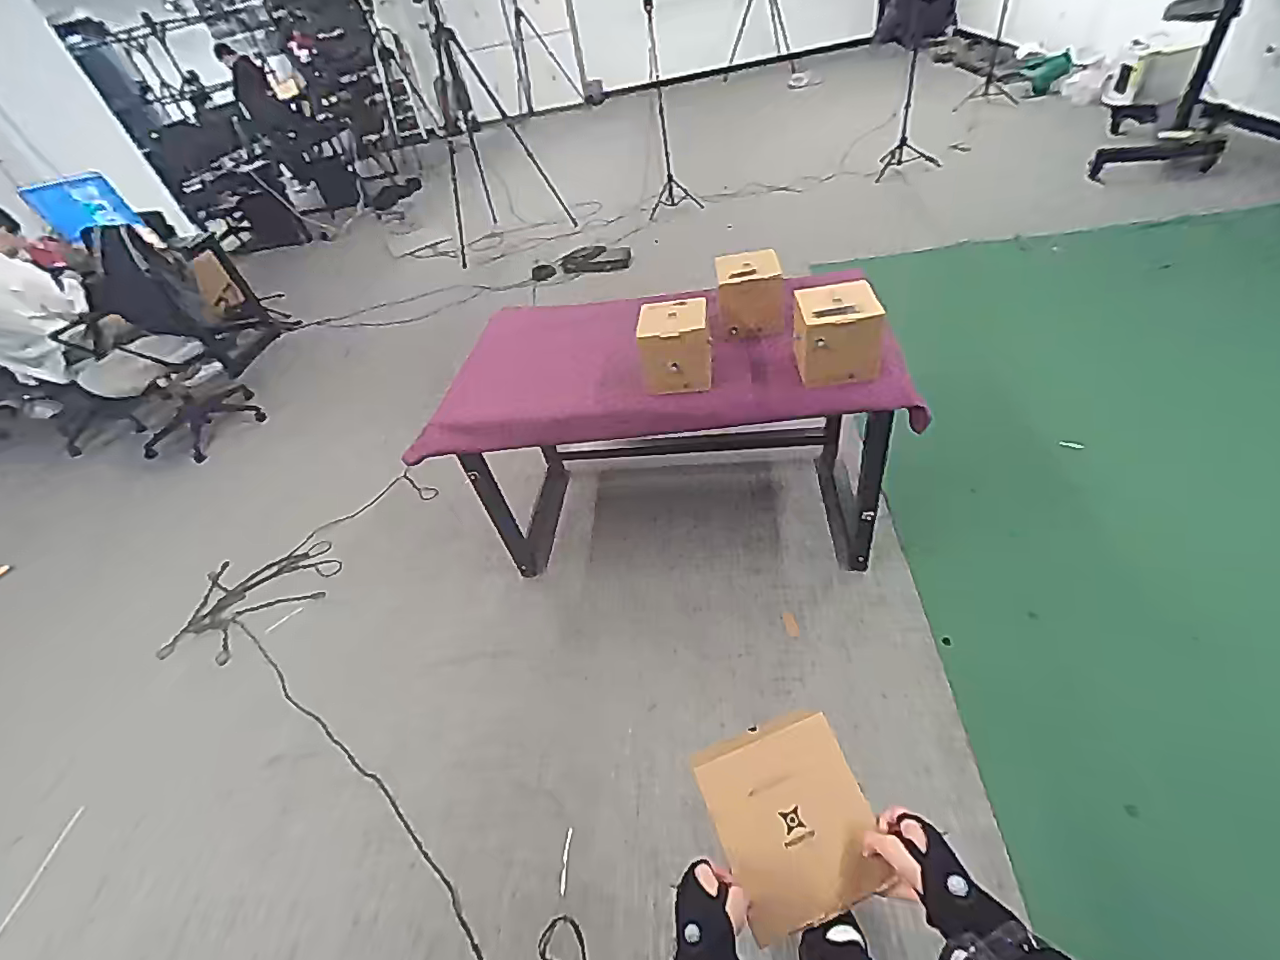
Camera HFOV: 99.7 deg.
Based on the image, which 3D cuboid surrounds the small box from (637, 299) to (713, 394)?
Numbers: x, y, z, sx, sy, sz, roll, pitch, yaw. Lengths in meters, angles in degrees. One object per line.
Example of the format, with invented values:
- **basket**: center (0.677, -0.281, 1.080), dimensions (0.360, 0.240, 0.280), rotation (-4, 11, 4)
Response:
- **small box**: center (0.096, -0.329, 1.361), dimensions (0.168, 0.176, 0.179), rotation (-3, 43, 11)

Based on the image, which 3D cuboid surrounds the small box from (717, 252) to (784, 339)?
- **small box**: center (0.305, -0.503, 1.492), dimensions (0.168, 0.176, 0.179), rotation (-5, 43, 9)

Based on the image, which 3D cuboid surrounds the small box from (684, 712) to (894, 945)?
- **small box**: center (0.161, 0.395, 0.651), dimensions (0.168, 0.176, 0.179), rotation (-19, 68, -8)
